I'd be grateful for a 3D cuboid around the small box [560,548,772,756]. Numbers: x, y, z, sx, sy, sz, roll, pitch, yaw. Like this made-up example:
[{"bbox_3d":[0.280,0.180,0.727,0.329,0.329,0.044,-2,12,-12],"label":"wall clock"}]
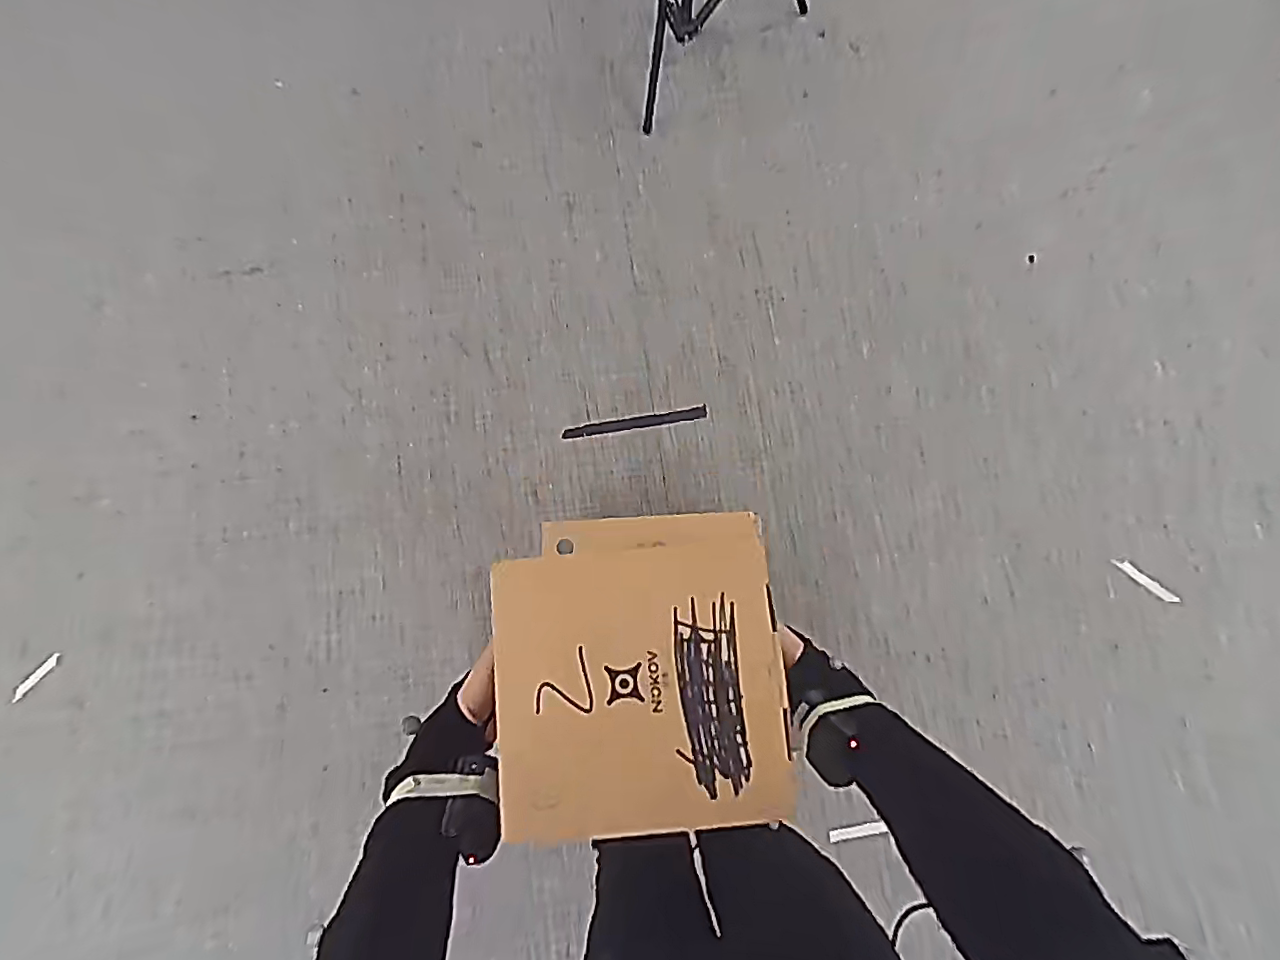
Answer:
[{"bbox_3d":[0.022,0.165,0.570,0.179,0.176,0.168,-9,80,-1],"label":"small box"}]
